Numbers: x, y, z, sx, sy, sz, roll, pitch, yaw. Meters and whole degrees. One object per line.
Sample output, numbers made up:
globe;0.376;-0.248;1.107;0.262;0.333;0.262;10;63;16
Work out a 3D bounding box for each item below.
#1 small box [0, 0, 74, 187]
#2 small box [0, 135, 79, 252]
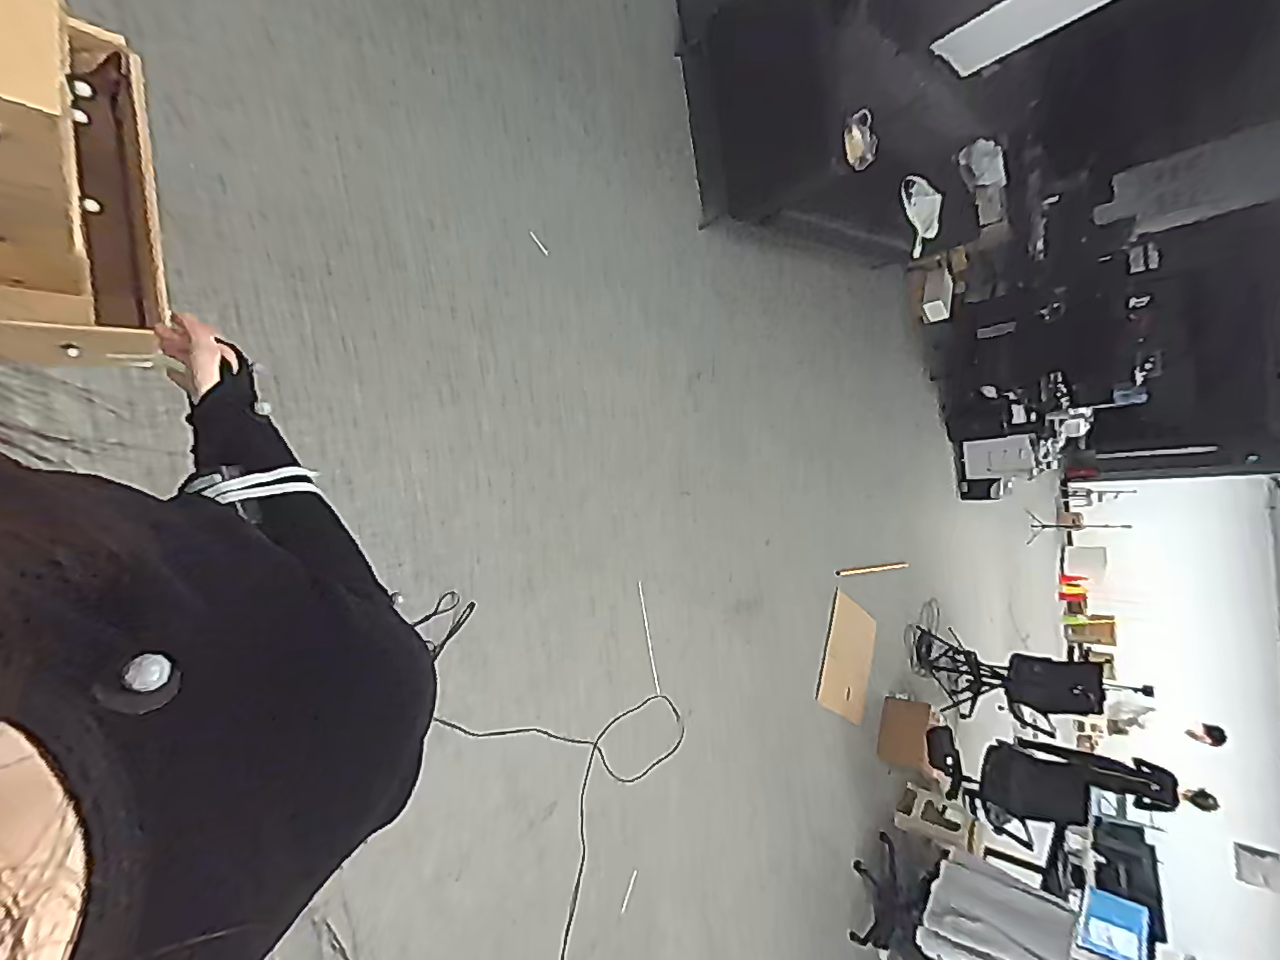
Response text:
small box;-0.564;-0.358;0.415;0.179;0.176;0.168;-1;88;-43
small box;-0.679;-0.355;0.534;0.168;0.176;0.179;-4;91;-44
